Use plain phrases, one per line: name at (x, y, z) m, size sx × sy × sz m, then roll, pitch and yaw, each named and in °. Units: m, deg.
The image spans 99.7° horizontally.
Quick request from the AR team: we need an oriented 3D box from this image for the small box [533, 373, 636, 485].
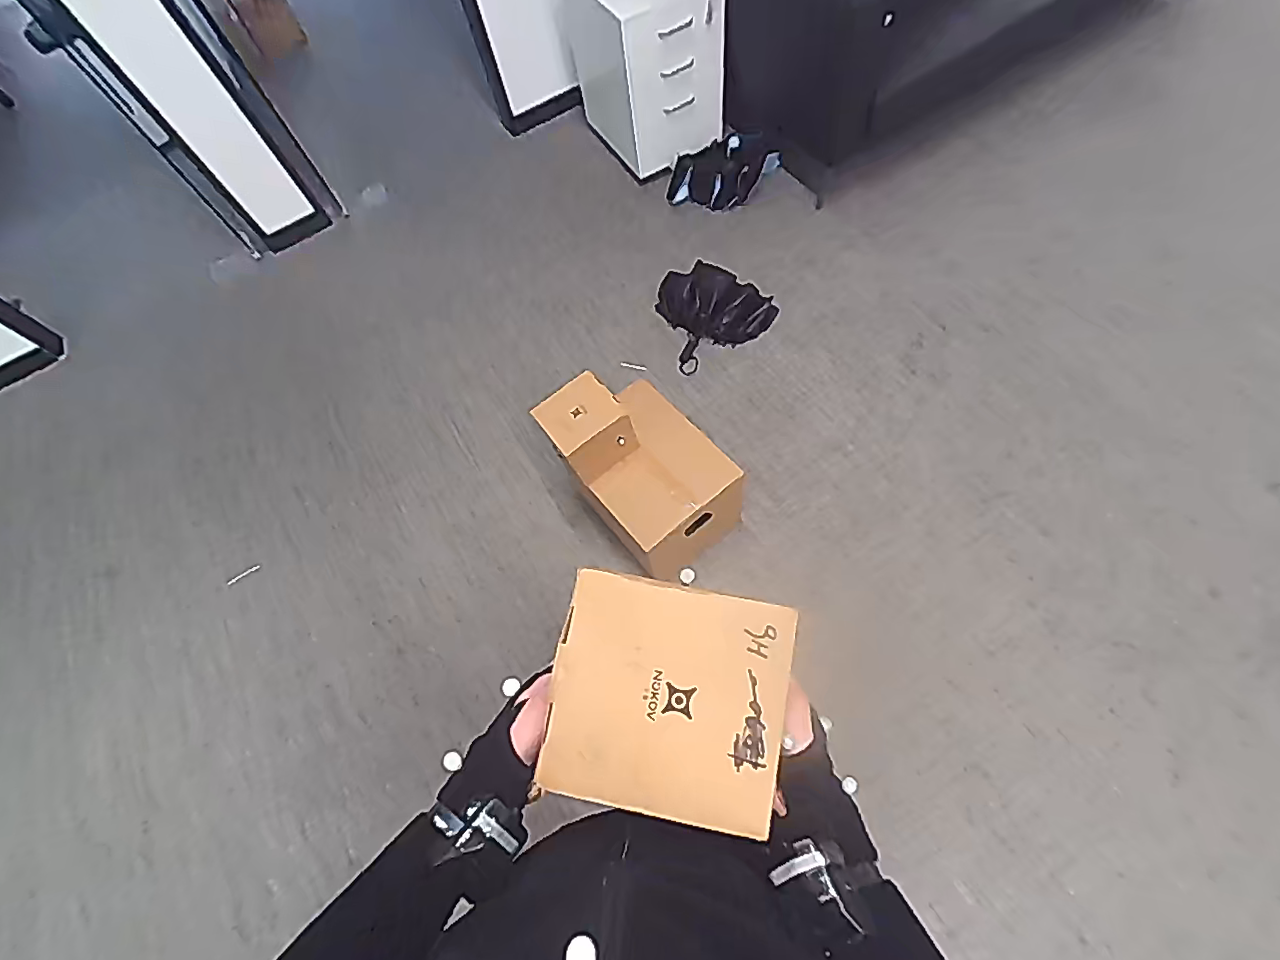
small box at (-0.126, -0.120, 1.325) m, size 0.179 × 0.176 × 0.168 m, roll -38°, pitch 64°, yaw -6°
